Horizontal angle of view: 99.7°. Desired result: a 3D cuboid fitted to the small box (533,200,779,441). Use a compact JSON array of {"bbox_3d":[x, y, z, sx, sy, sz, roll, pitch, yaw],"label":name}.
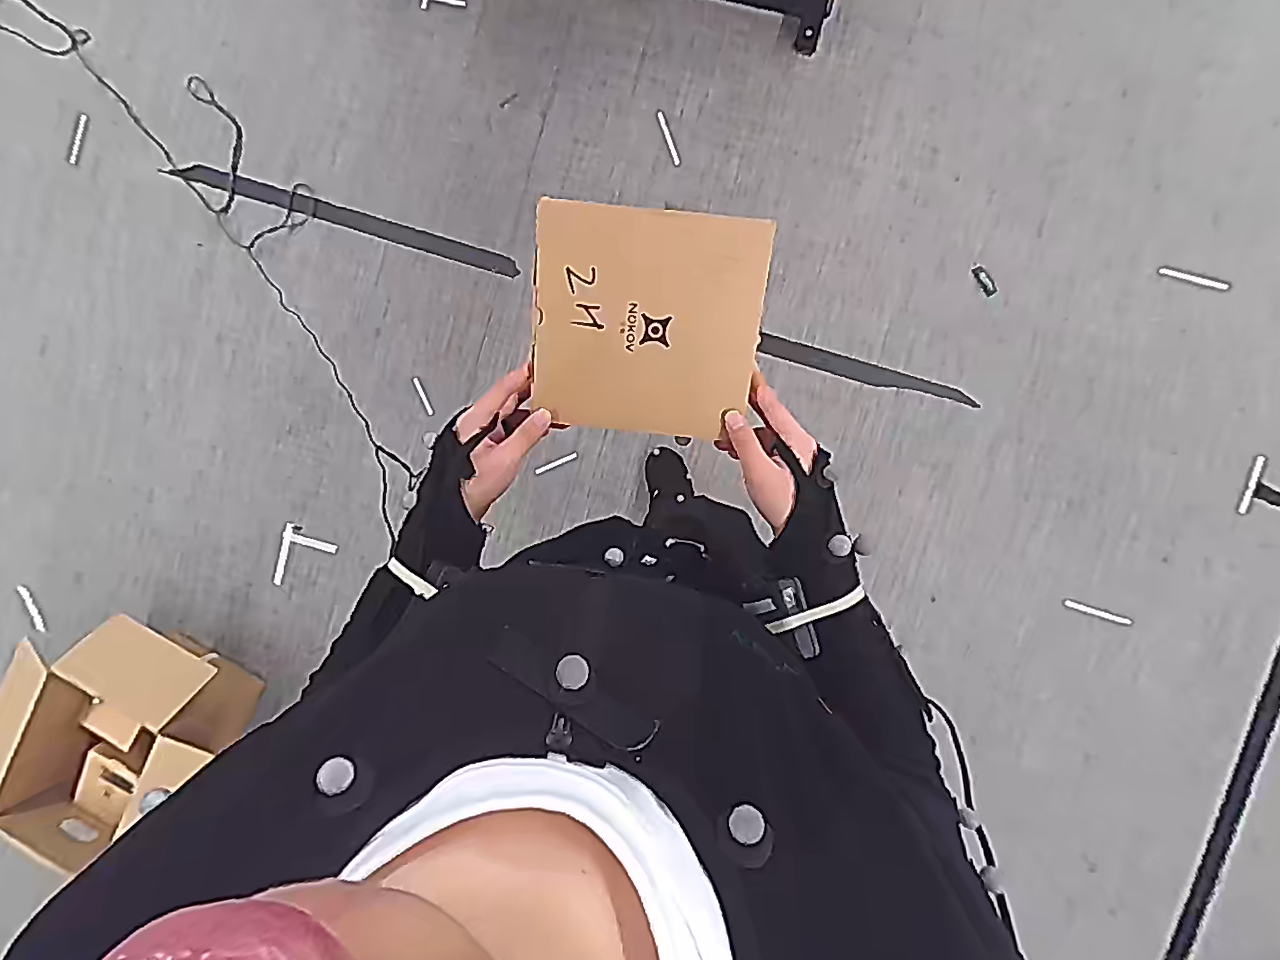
[{"bbox_3d":[0.010,-0.144,0.492,0.179,0.176,0.168,7,109,1],"label":"small box"}]
